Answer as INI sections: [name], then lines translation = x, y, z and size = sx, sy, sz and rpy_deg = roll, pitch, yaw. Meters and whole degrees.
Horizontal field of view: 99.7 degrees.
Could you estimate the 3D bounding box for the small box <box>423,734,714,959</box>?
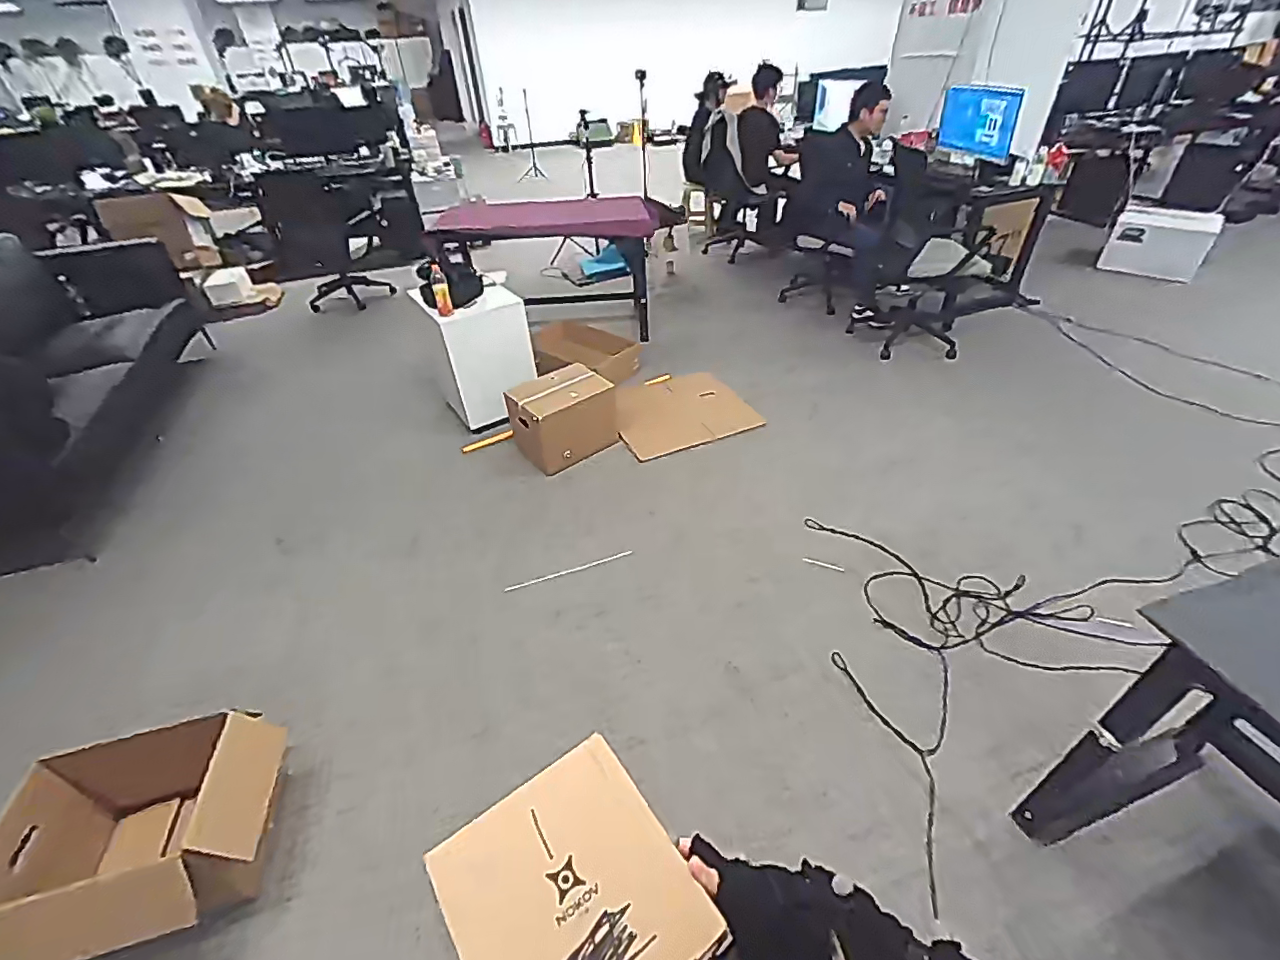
[small box]
translation = -0.057, 0.368, 0.465
size = 0.168, 0.176, 0.179
rpy_deg = -26, 48, -26
